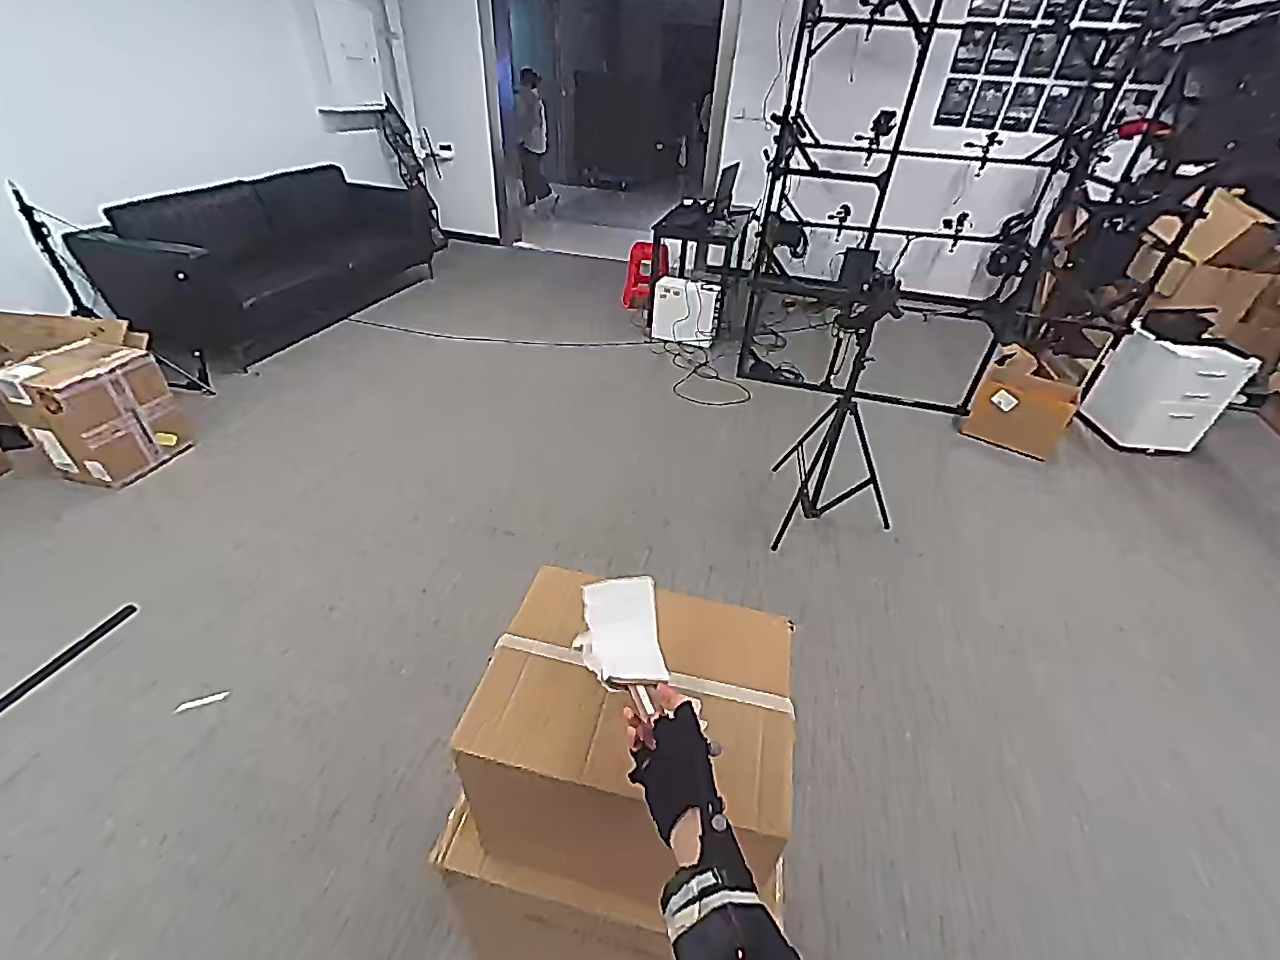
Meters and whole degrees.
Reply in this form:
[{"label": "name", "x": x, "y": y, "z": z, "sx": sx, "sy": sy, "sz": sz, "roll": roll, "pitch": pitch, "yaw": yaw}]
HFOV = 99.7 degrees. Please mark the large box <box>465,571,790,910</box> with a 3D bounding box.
[{"label": "large box", "x": -0.005, "y": 0.389, "z": 0.840, "sx": 0.408, "sy": 0.320, "sz": 0.320, "roll": 11, "pitch": 37, "yaw": 8}]
